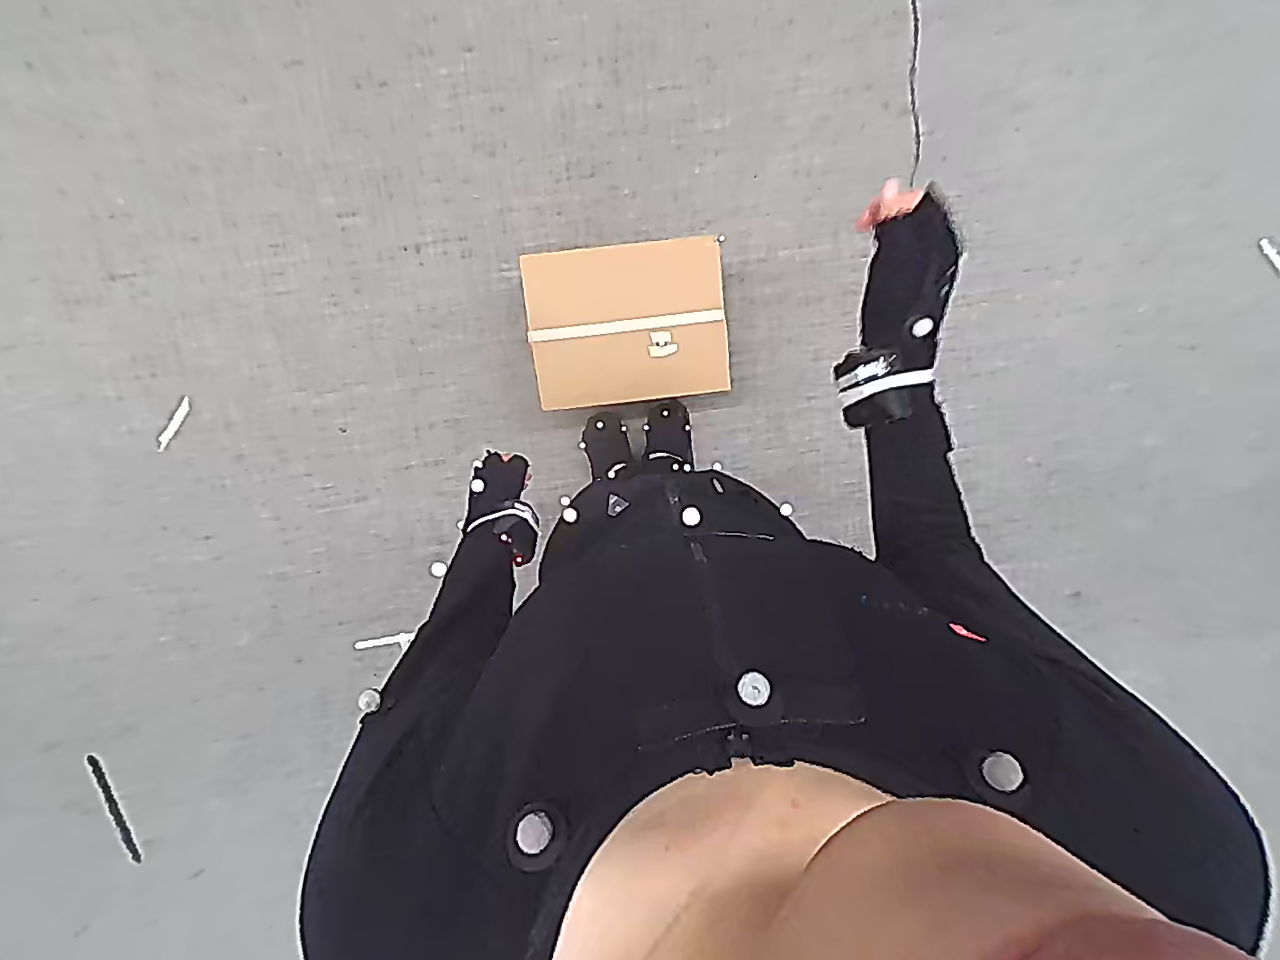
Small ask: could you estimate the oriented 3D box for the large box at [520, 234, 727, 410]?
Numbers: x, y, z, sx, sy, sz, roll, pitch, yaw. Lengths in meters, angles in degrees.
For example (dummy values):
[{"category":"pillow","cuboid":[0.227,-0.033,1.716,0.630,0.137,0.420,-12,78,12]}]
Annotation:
[{"category":"large box","cuboid":[-0.037,-0.353,1.268,0.408,0.320,0.320,-7,103,-2]}]
